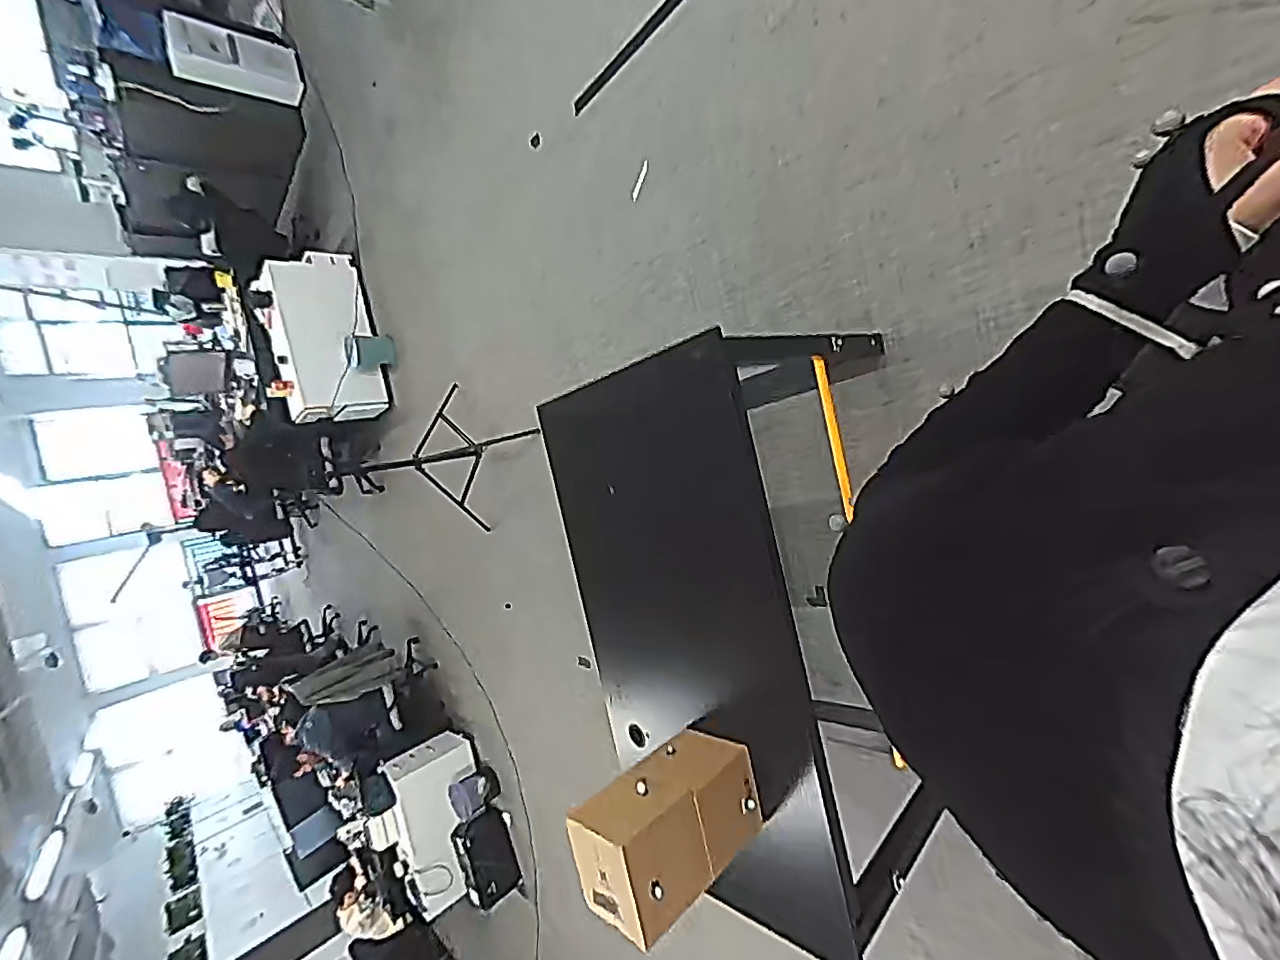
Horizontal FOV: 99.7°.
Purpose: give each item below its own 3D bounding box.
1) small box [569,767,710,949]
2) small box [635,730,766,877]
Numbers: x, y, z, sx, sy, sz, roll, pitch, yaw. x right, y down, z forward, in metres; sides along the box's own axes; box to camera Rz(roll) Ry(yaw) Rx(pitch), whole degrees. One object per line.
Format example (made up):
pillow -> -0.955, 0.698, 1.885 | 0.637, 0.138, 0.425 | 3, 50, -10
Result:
small box -> 0.003, 0.657, 0.966 | 0.168, 0.176, 0.179 | -13, 91, 48
small box -> 0.120, 0.626, 1.077 | 0.179, 0.176, 0.168 | -11, 93, 47
